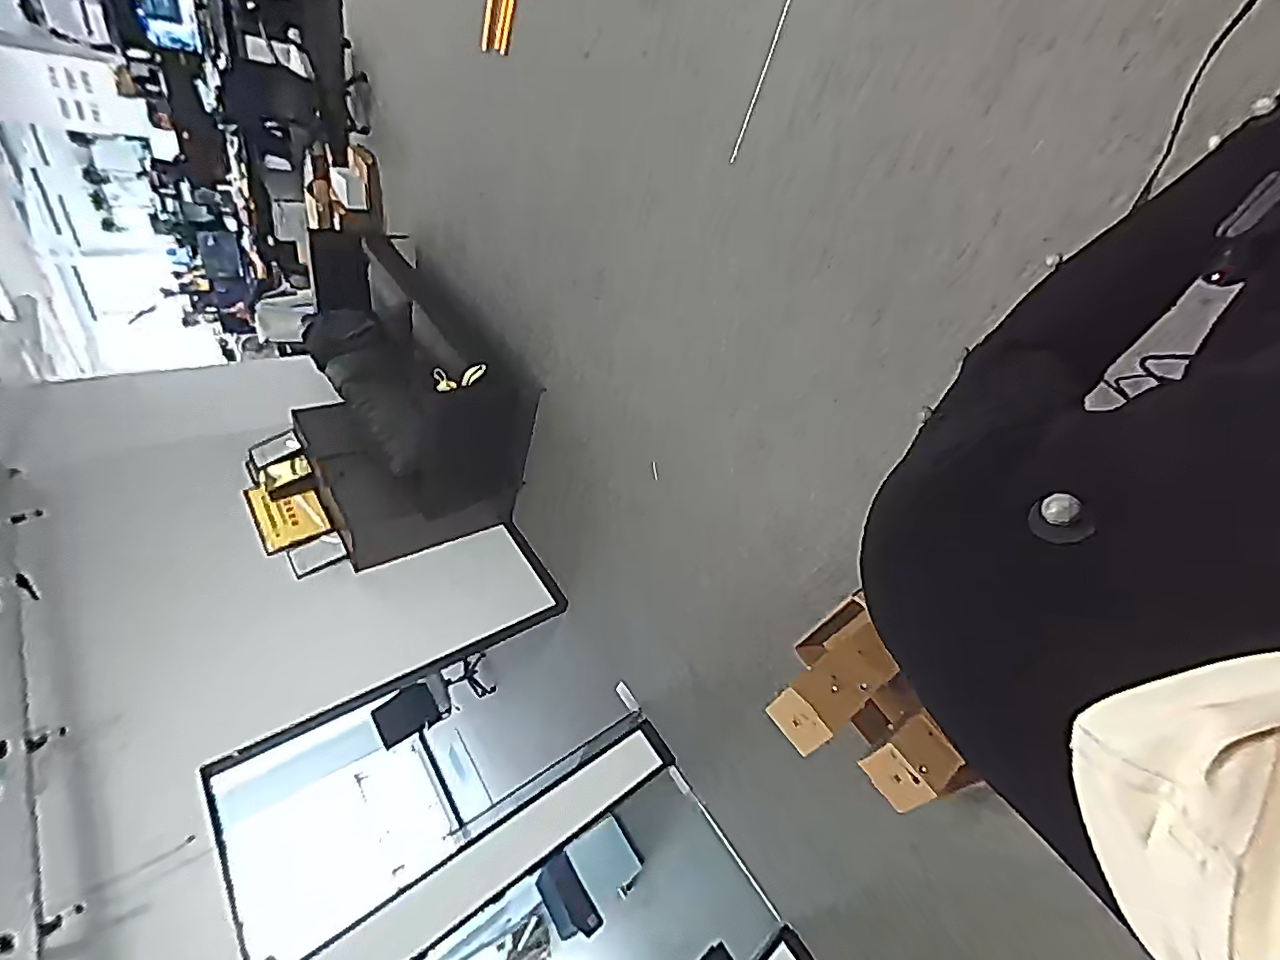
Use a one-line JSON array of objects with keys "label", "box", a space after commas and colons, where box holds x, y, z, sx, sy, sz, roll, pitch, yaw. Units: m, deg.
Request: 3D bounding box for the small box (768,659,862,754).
[{"label": "small box", "box": [0.519, 0.666, 1.598, 0.168, 0.176, 0.179, 48, 138, 26]}]

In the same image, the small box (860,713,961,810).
[{"label": "small box", "box": [0.798, 0.824, 1.589, 0.168, 0.176, 0.179, 49, 140, 26]}]
